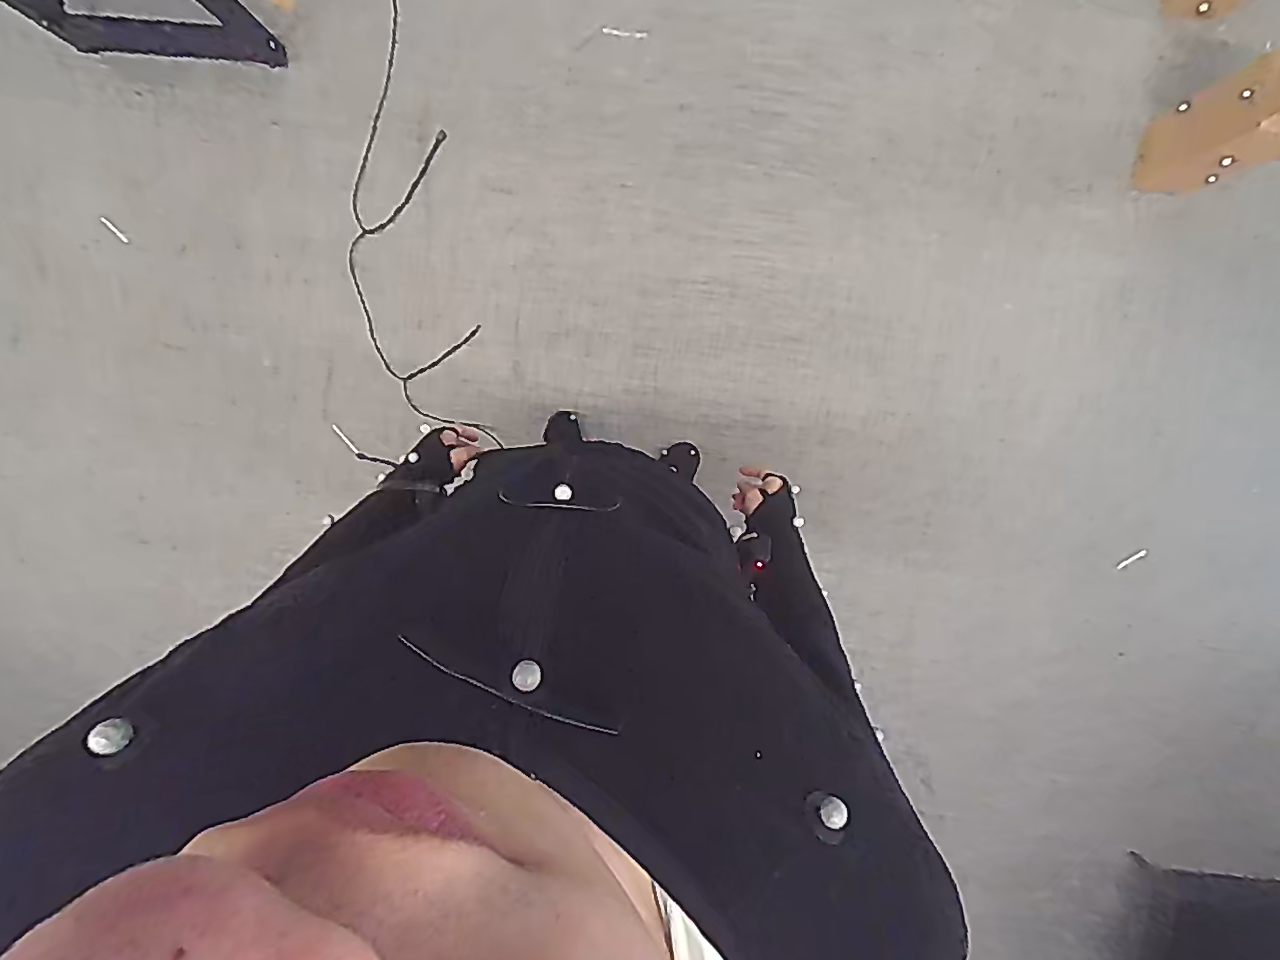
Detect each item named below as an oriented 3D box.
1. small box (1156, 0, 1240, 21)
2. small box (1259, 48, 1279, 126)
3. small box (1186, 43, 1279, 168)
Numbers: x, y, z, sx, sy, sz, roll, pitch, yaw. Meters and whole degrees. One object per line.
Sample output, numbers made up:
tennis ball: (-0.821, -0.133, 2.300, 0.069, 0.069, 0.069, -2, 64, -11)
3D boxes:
small box: (1.487, -1.336, 1.384, 0.168, 0.176, 0.179, 5, 98, 0)
small box: (1.460, -0.850, 1.114, 0.168, 0.176, 0.179, 12, 96, 0)
small box: (1.458, -0.873, 1.274, 0.168, 0.176, 0.179, 7, 98, 0)
